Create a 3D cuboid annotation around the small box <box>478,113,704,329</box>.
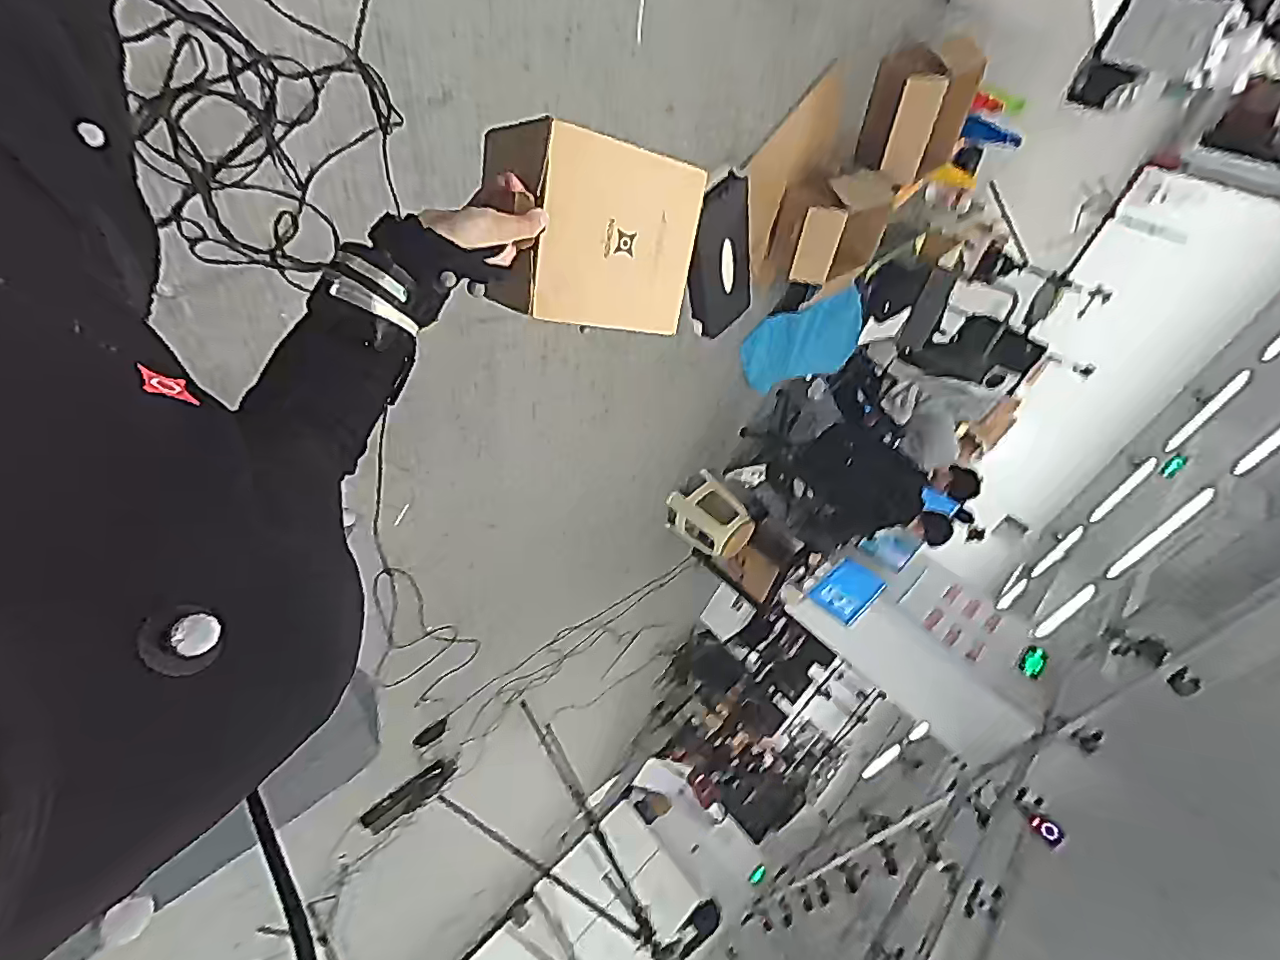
[{"bbox_3d":[-0.063,-0.267,0.580,0.179,0.176,0.168,-6,118,-35],"label":"small box"}]
